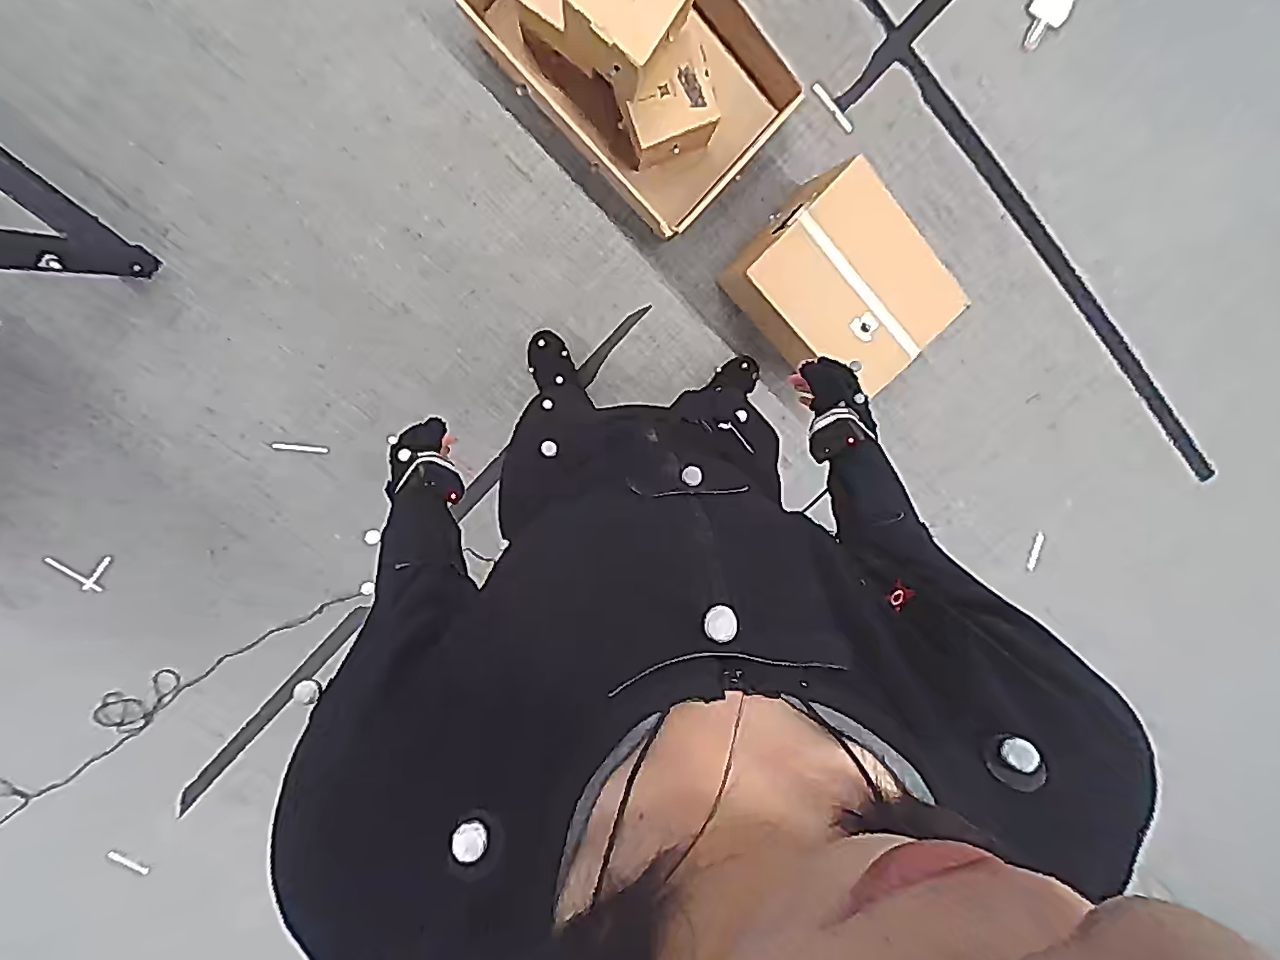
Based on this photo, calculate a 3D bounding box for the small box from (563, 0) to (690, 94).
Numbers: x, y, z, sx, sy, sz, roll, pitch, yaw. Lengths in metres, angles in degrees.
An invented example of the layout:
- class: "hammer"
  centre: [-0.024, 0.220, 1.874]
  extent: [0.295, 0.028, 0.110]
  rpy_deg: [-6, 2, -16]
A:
- class: "small box"
  centre: [-0.017, -0.837, 0.953]
  extent: [0.168, 0.176, 0.179]
  rpy_deg: [34, 101, -15]

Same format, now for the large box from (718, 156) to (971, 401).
- class: "large box"
  centre: [0.451, -0.450, 1.268]
  extent: [0.408, 0.320, 0.320]
  rpy_deg: [42, 101, -16]
